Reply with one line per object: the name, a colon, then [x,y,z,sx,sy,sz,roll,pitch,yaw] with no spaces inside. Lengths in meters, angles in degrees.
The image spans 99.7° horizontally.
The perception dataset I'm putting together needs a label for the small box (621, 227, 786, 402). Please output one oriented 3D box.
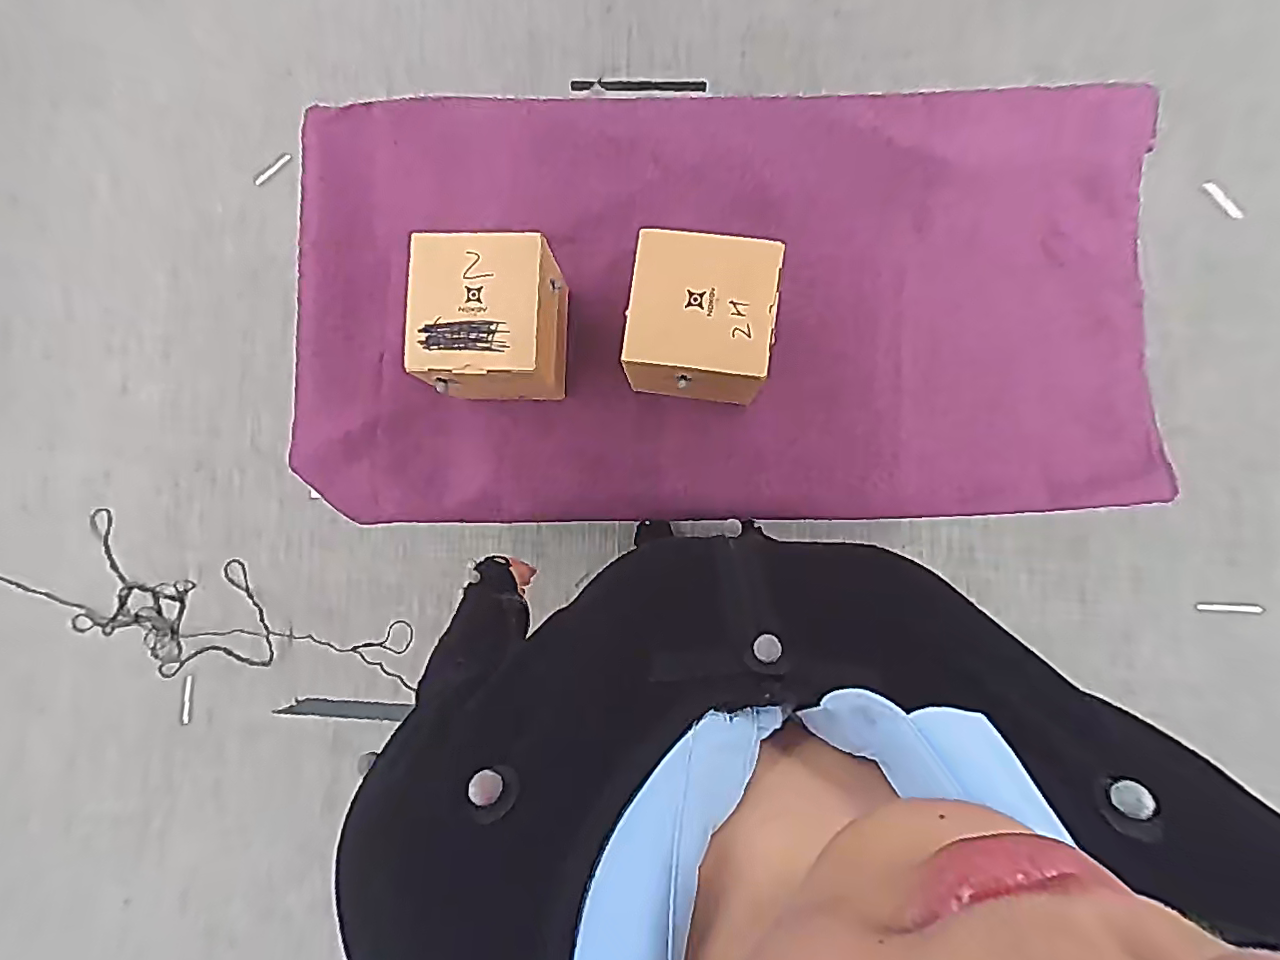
small box: [0.080,-0.207,0.717,0.179,0.176,0.168,8,88,4]
